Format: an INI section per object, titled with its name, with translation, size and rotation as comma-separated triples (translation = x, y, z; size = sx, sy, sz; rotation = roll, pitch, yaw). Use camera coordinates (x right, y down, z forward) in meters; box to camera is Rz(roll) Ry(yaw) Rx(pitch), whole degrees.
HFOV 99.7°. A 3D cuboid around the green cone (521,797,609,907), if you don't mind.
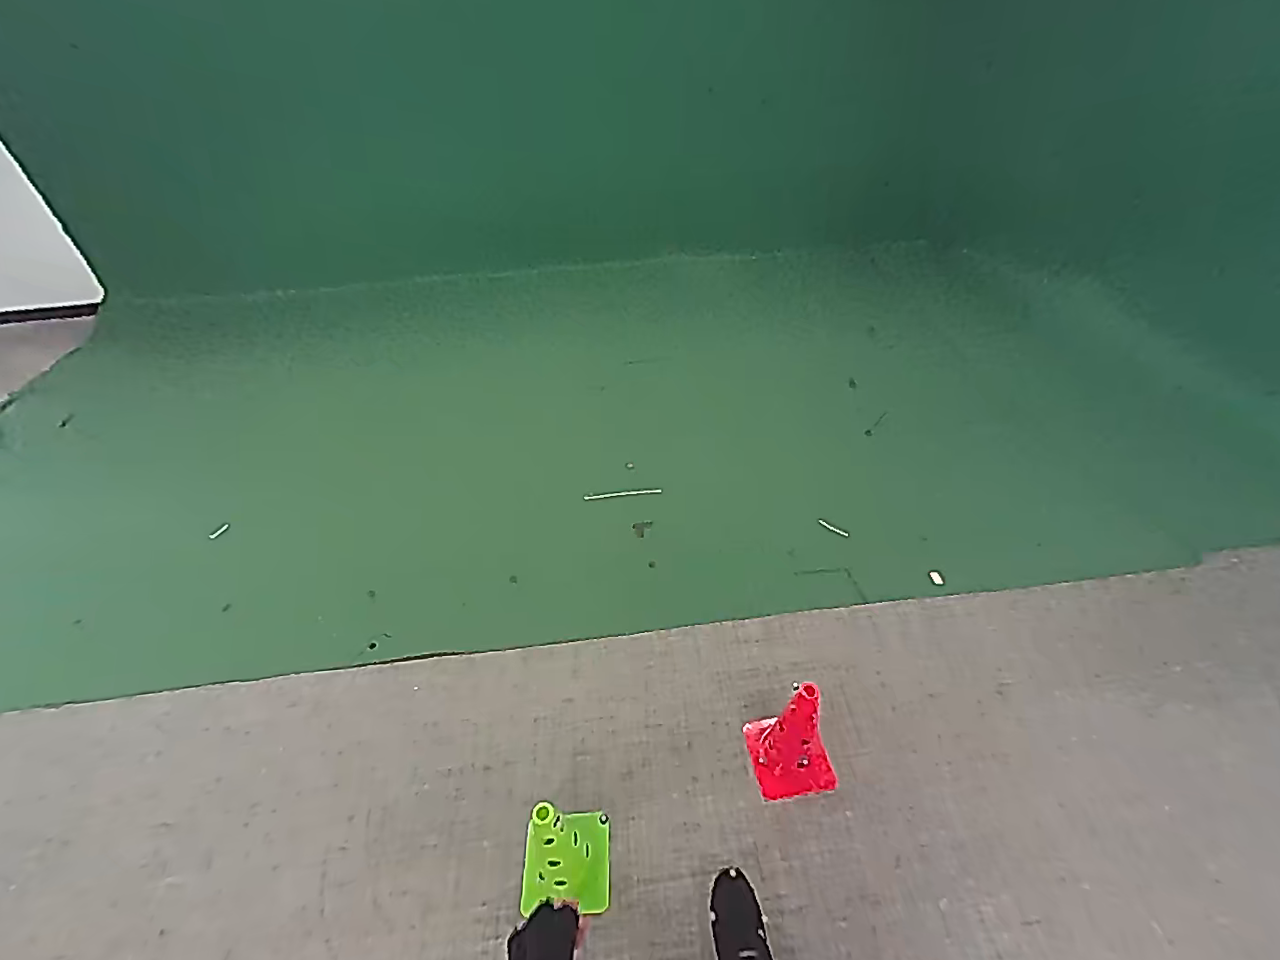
[green cone]
translation = -0.183, 0.757, 1.164
size = 0.200, 0.368, 0.202
rotation = -5, 43, -1
